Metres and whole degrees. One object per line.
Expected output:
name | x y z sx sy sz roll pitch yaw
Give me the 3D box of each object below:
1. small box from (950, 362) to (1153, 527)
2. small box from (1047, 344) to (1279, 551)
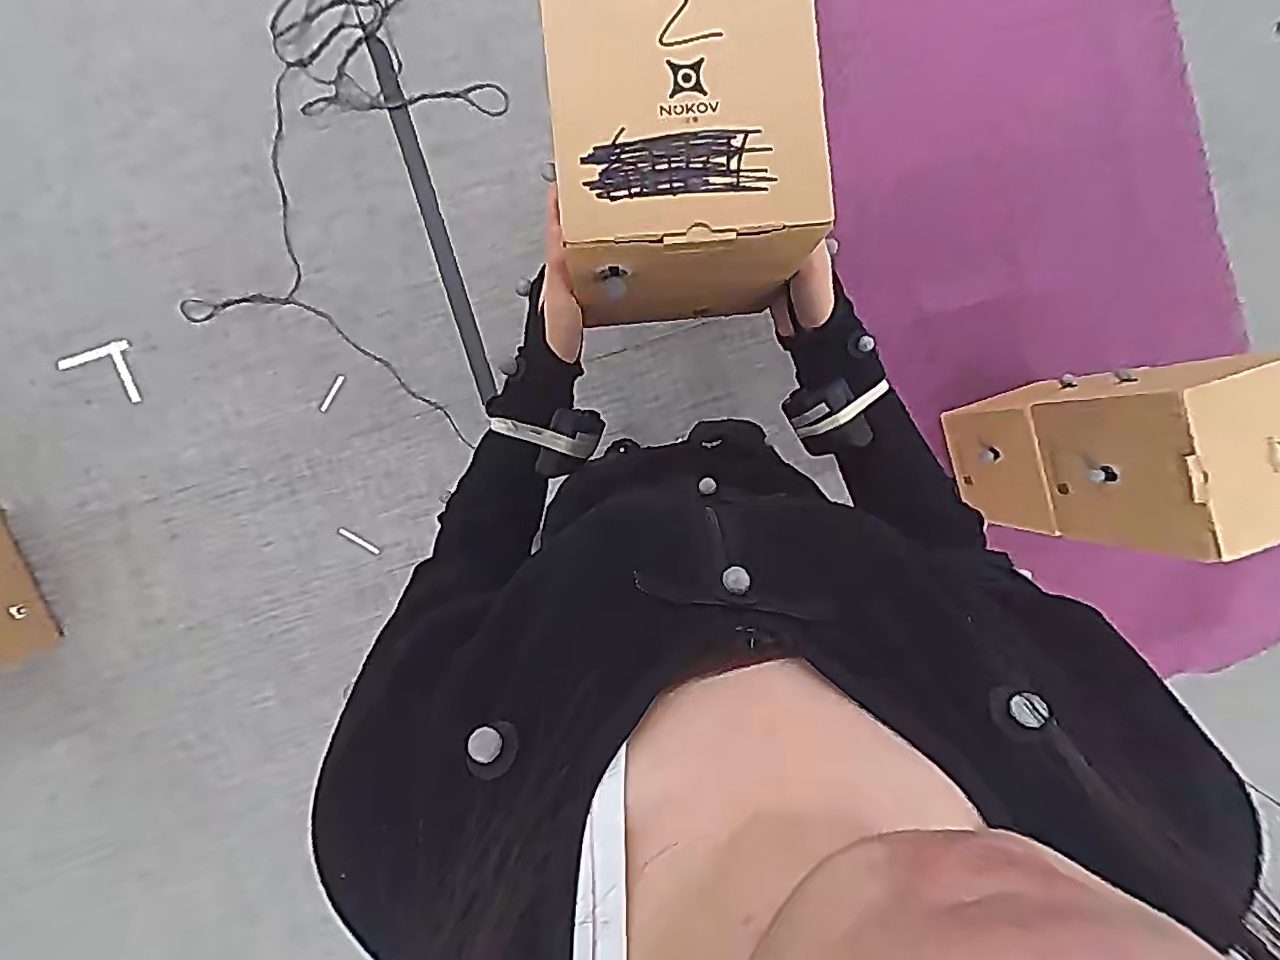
small box | 0.558 -0.046 0.738 0.179 0.176 0.168 -18 95 -4
small box | 0.578 -0.037 0.575 0.179 0.176 0.168 -16 95 -4
